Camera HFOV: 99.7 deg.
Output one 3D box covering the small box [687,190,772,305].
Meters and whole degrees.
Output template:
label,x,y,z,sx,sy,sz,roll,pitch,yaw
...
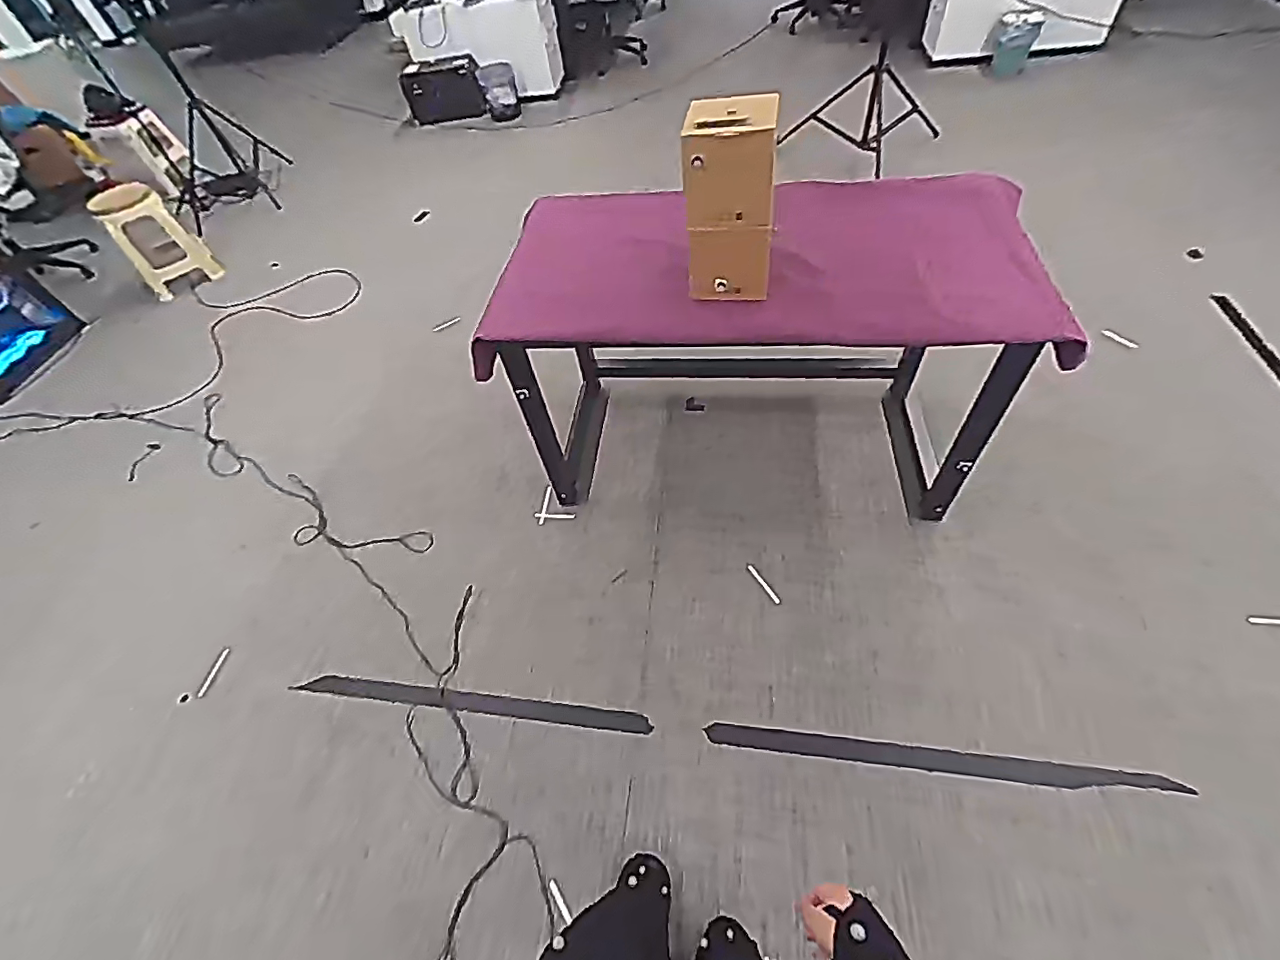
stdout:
label,x,y,z,sx,sy,sz,roll,pitch,yaw
small box,0.196,-0.504,1.177,0.168,0.176,0.179,3,54,12
